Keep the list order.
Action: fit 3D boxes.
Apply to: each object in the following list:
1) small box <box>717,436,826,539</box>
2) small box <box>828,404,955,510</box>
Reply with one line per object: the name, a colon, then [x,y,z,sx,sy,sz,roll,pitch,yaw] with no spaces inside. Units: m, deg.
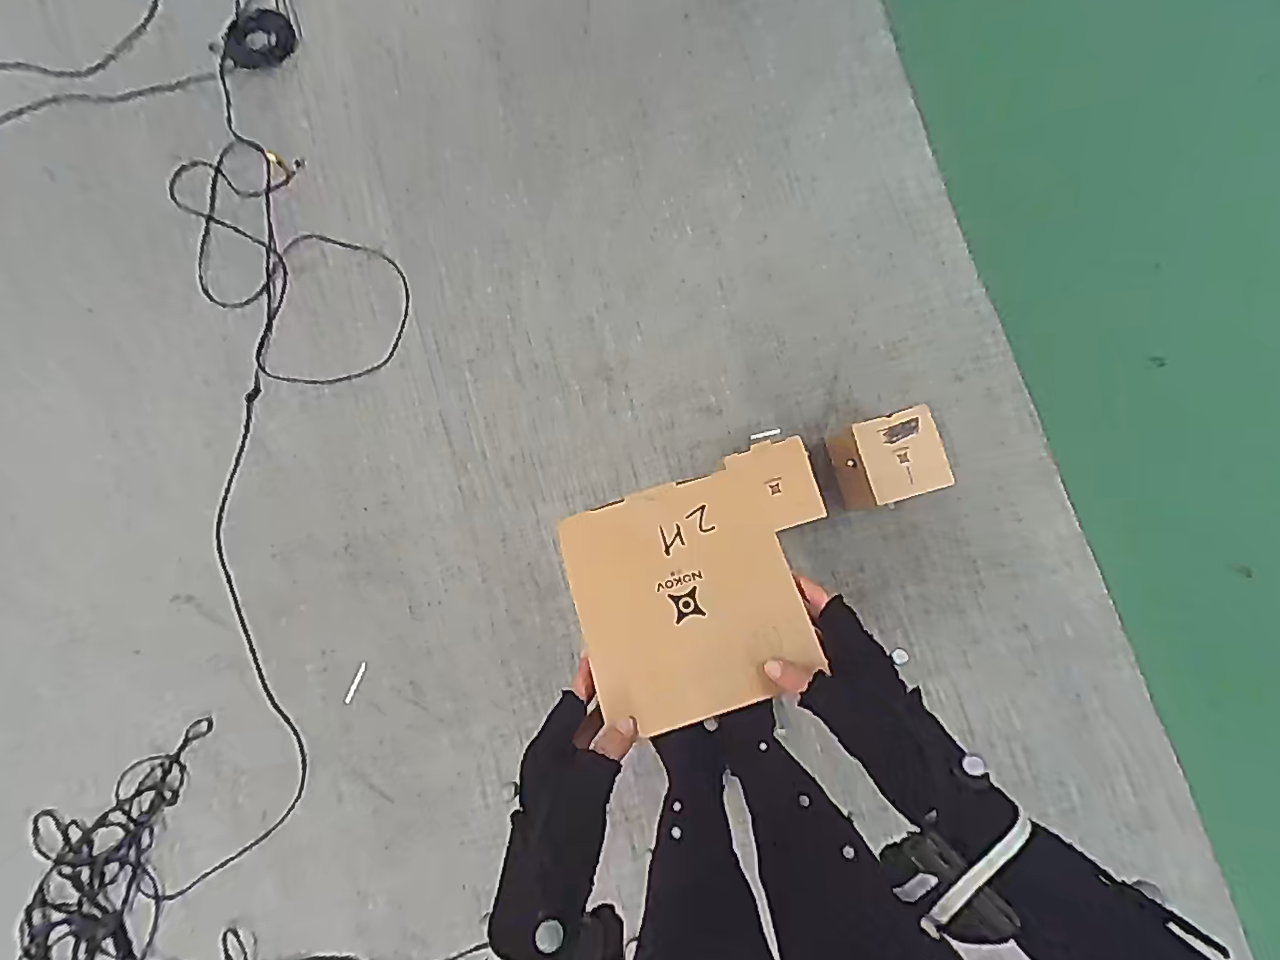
small box: [0.273,0.022,1.163,0.168,0.176,0.179,-17,82,-1]
small box: [0.528,-0.043,1.164,0.168,0.176,0.179,-16,83,-1]
